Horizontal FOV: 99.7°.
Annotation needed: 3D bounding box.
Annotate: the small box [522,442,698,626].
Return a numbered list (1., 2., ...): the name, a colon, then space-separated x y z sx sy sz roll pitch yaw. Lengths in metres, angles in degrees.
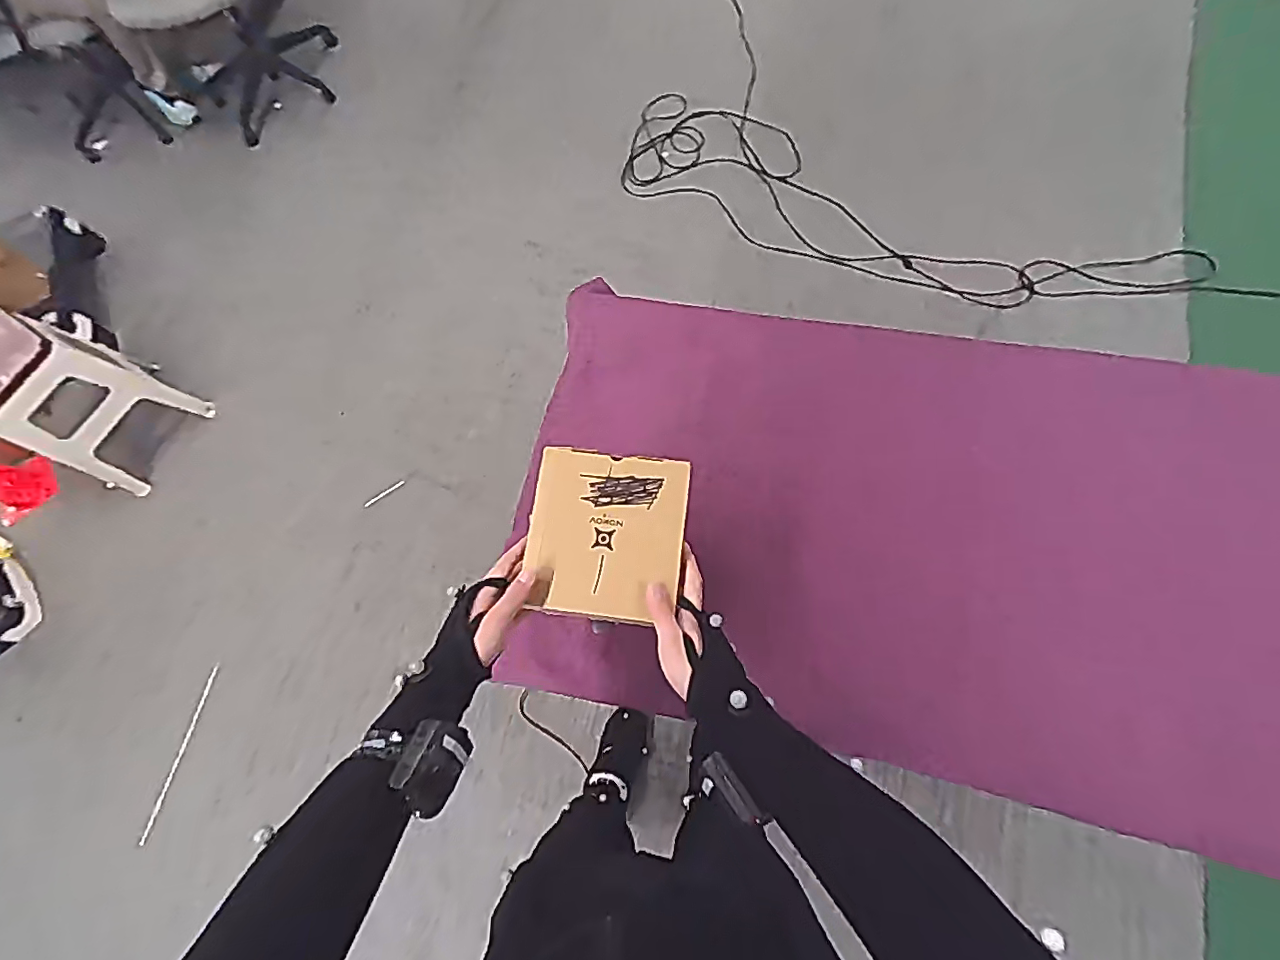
1. small box: -0.028 0.073 0.647 0.168 0.176 0.179 7 74 4
